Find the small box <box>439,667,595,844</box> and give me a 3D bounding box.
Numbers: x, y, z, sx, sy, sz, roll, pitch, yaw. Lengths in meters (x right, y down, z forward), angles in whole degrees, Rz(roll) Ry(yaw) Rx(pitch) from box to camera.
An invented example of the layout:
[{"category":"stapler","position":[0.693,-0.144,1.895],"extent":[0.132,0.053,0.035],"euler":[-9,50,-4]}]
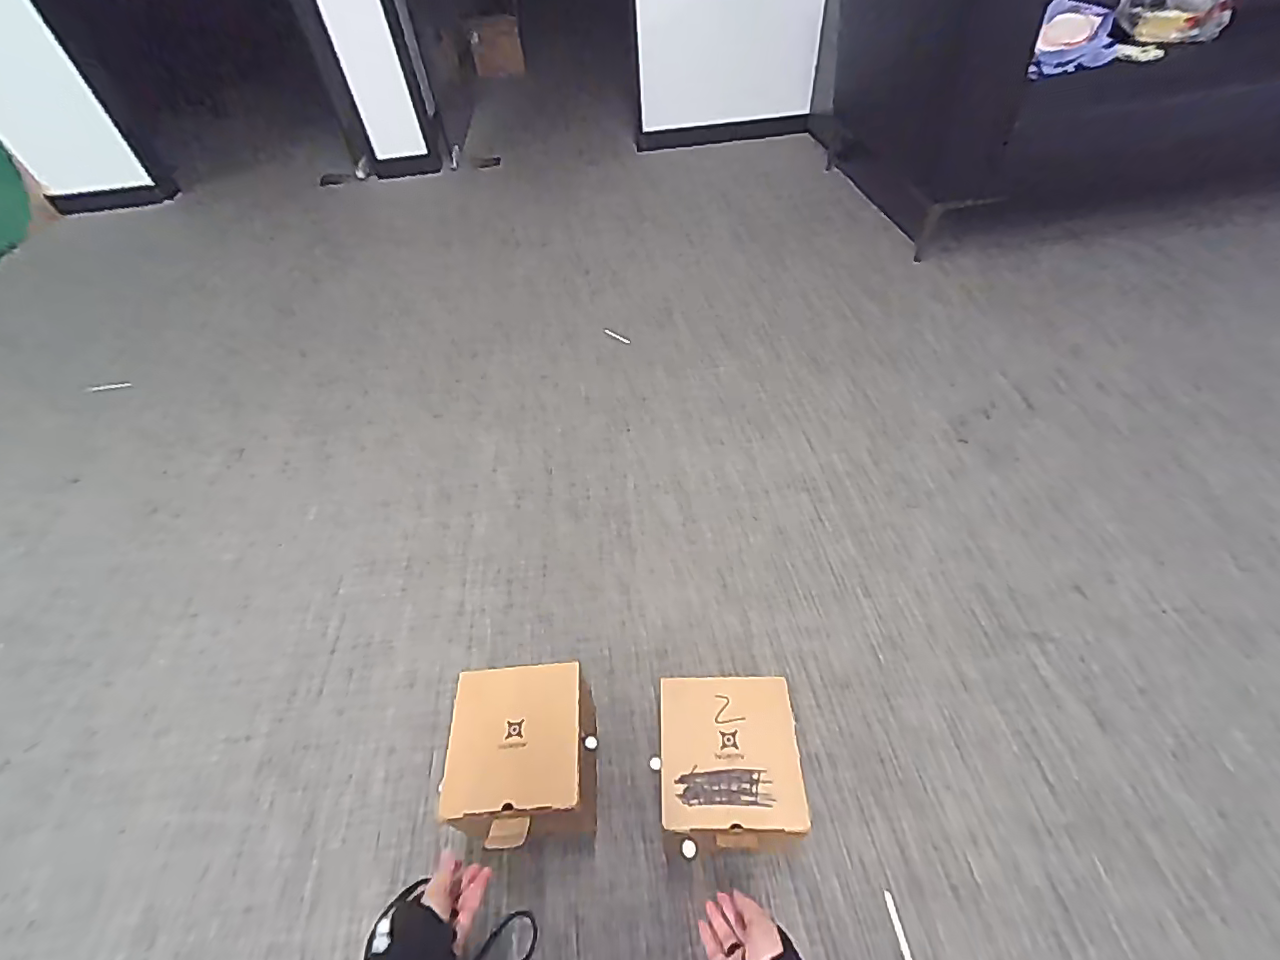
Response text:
[{"category":"small box","position":[-0.154,0.379,0.742],"extent":[0.168,0.176,0.179],"euler":[-5,49,0]}]
